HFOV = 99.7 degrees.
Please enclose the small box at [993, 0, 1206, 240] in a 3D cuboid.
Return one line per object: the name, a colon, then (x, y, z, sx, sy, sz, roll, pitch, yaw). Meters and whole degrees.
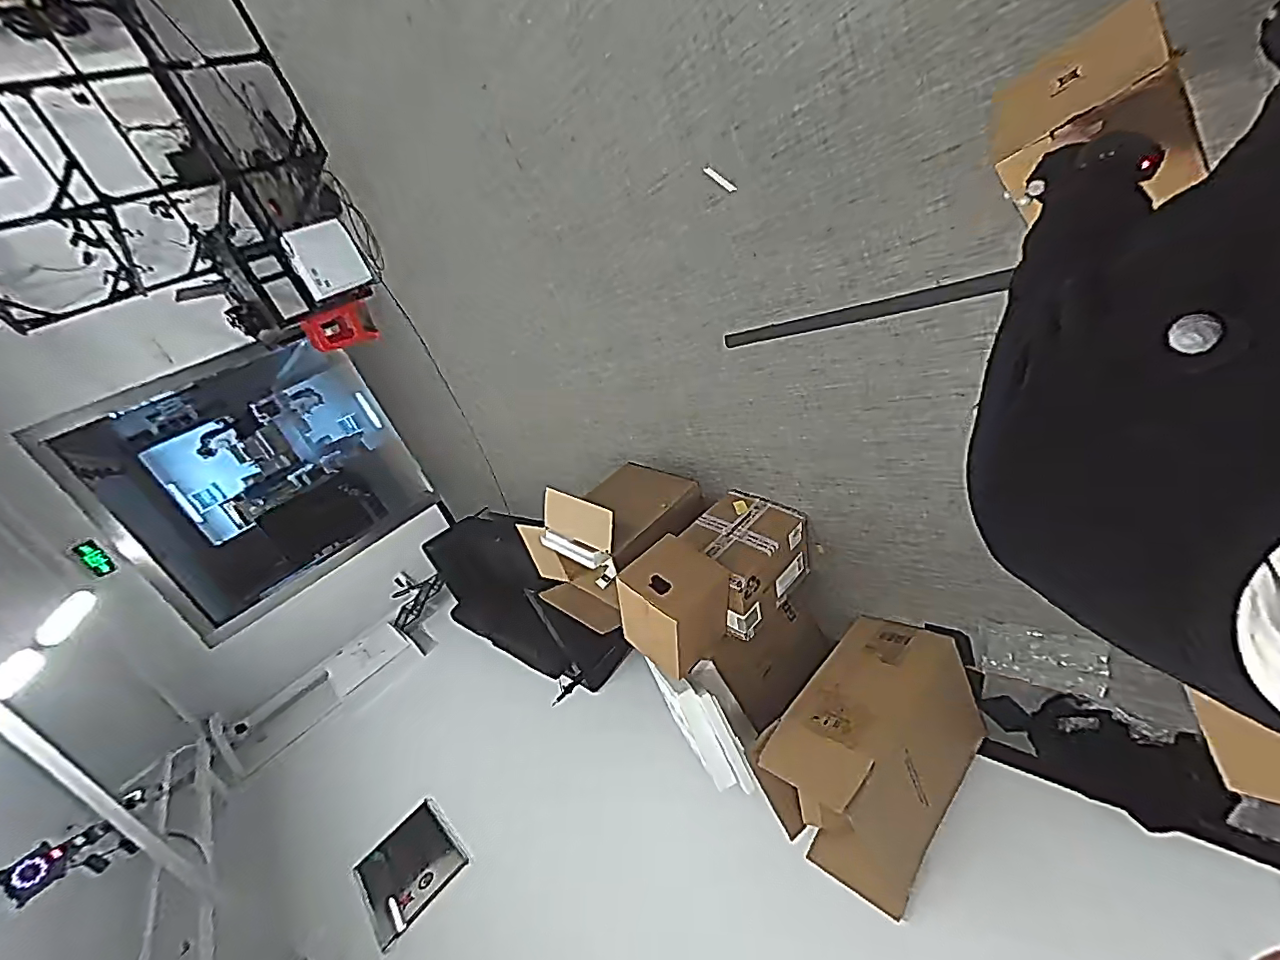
small box: (0.575, -0.439, 0.686, 0.176, 0.179, 0.168, 32, 152, -29)
